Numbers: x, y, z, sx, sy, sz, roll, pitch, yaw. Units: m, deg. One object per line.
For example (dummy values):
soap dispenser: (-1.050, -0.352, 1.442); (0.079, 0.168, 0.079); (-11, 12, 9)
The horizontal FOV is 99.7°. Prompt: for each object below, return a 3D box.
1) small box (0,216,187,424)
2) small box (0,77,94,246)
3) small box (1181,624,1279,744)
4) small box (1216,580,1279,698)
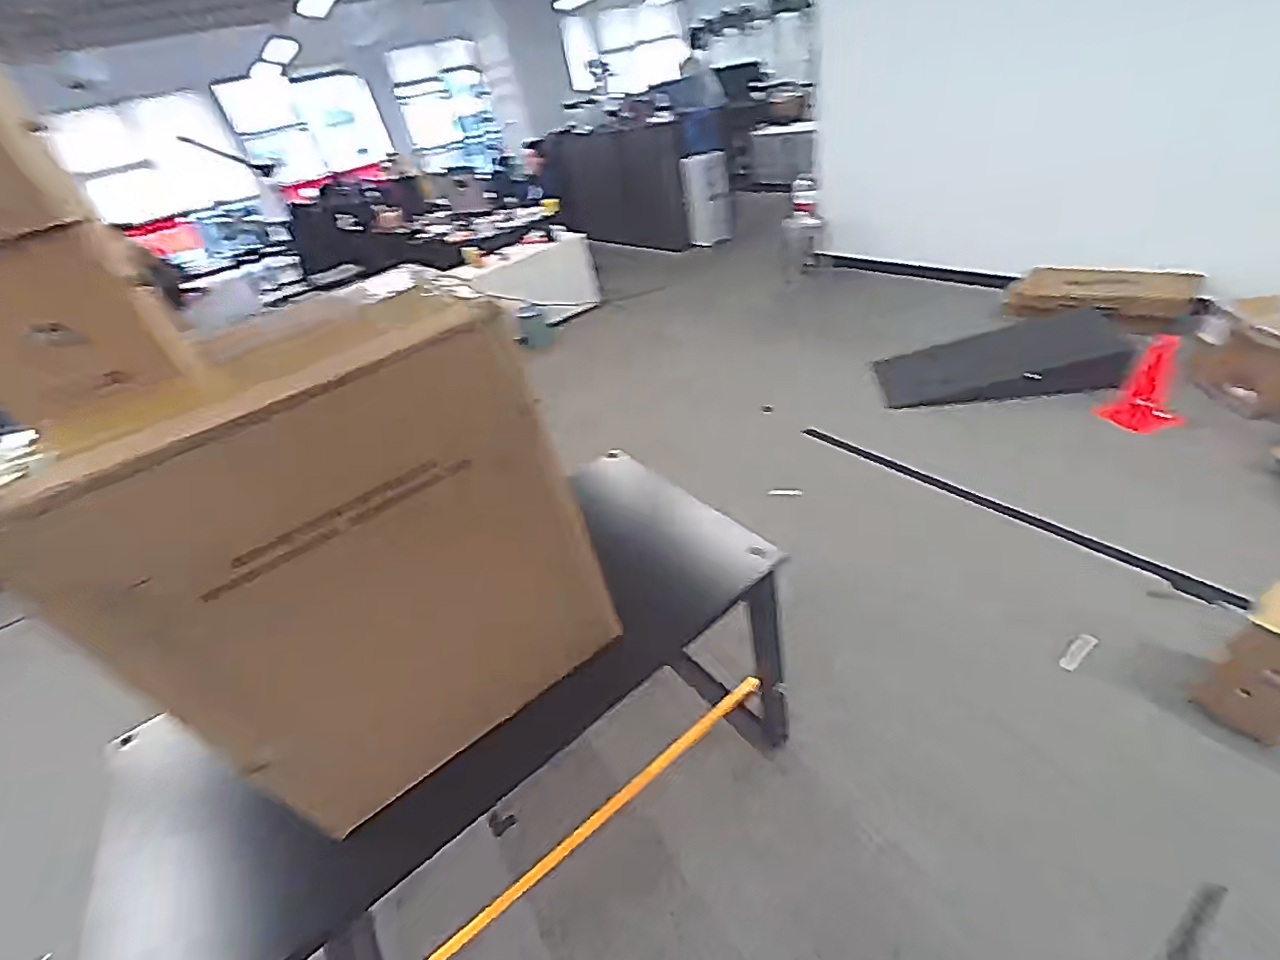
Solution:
small box: (-0.661, -0.184, 0.616); (0.168, 0.176, 0.179); (-31, 39, -23)
small box: (-0.682, -0.308, 0.511); (0.168, 0.176, 0.179); (-31, 39, -21)
small box: (1.478, 0.493, 1.307); (0.168, 0.176, 0.179); (-30, 40, -19)
small box: (1.454, 0.365, 1.205); (0.179, 0.176, 0.168); (-30, 39, -19)
